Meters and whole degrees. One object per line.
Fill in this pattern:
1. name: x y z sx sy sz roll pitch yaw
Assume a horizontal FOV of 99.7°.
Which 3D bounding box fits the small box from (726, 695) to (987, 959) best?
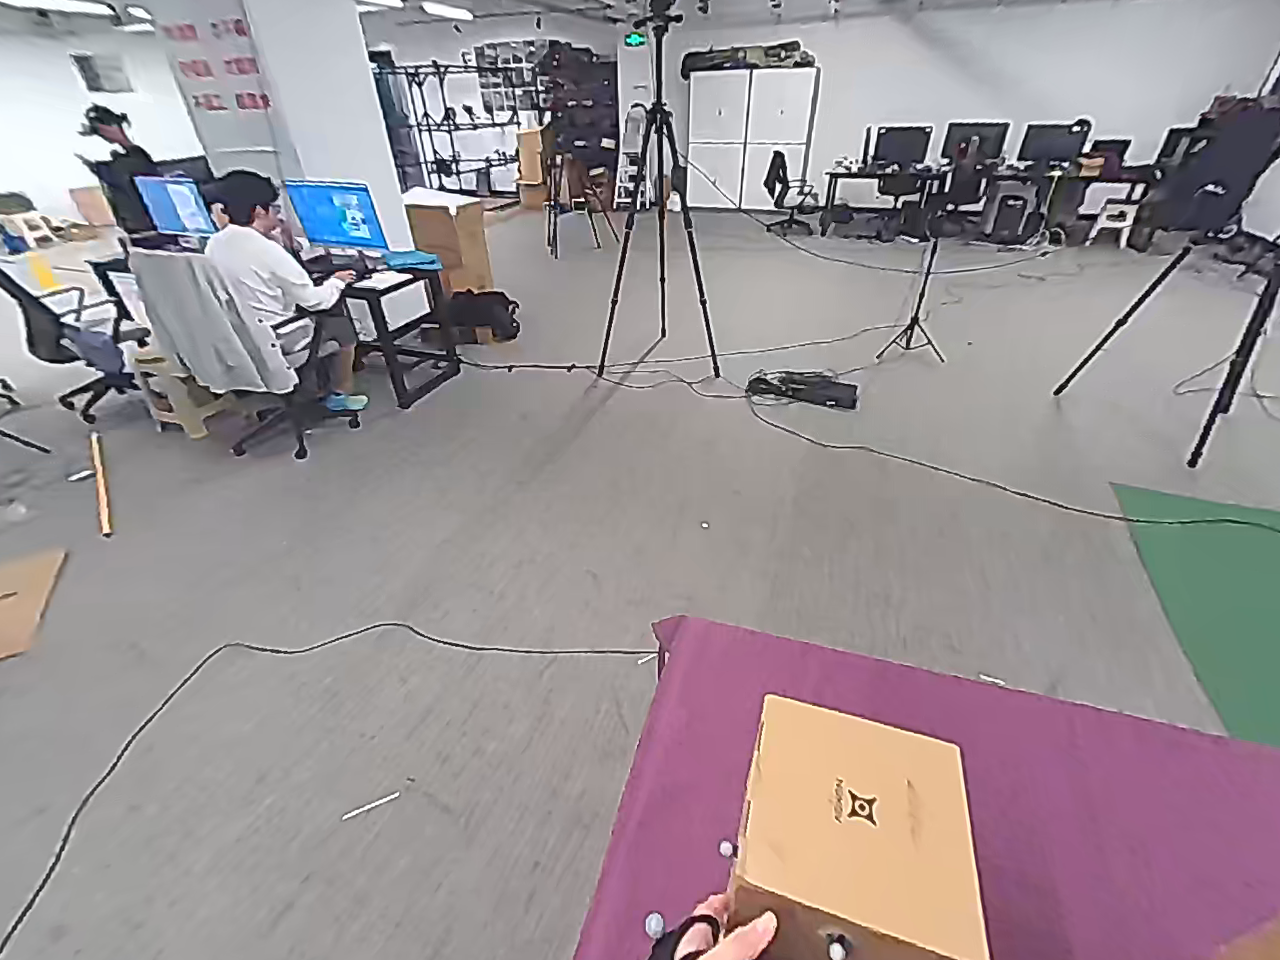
1. small box: 0.181 0.335 0.492 0.179 0.176 0.168 10 38 16
